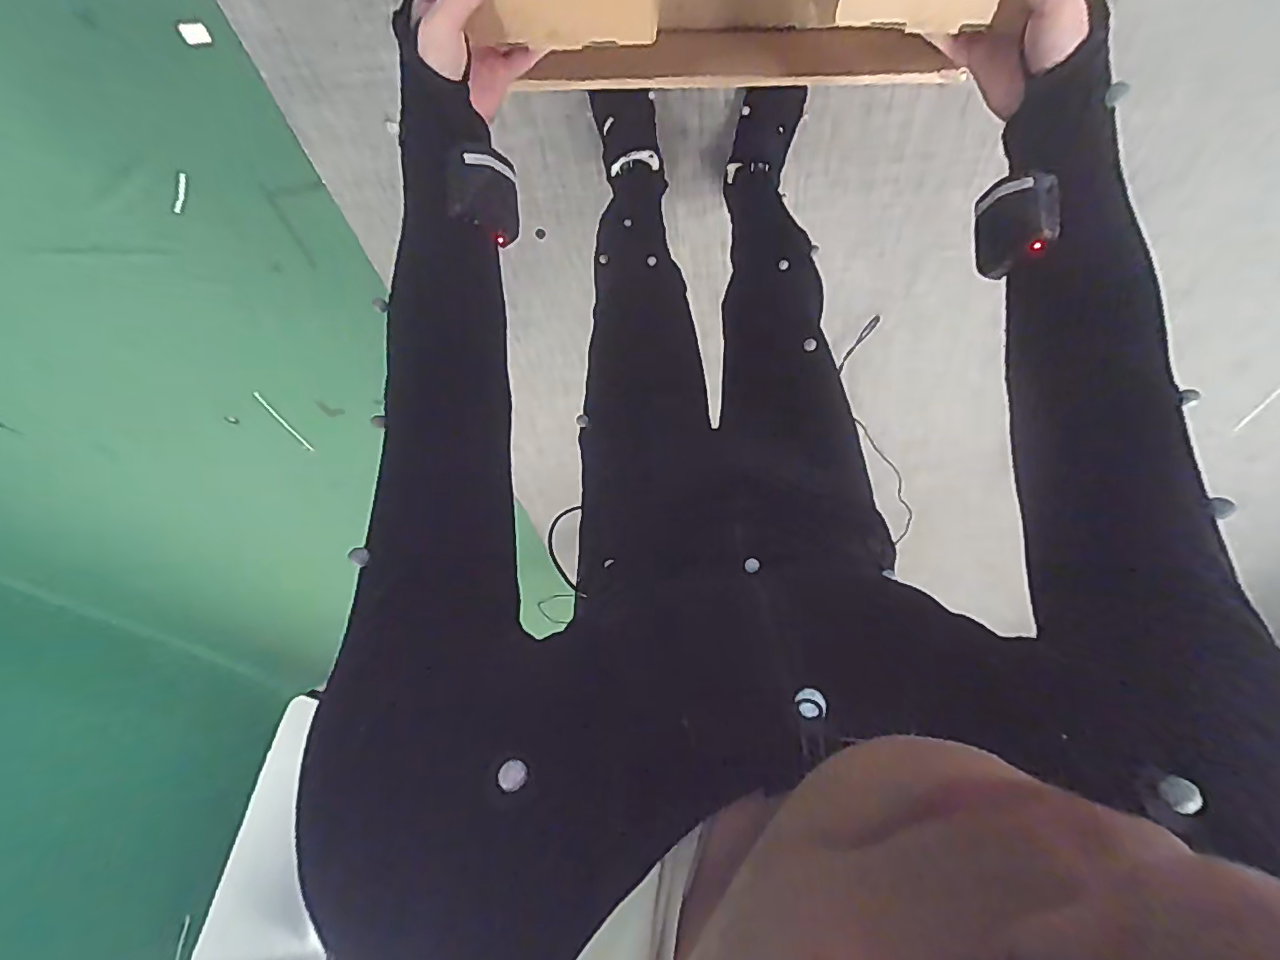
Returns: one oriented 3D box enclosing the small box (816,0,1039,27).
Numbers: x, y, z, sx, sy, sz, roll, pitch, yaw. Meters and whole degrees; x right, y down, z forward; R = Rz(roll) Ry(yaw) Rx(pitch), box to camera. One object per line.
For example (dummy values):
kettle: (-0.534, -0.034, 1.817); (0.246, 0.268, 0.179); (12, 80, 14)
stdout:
small box: (0.225, -0.473, 0.399); (0.168, 0.176, 0.179); (0, 143, -3)

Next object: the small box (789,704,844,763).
small box: (0.631, 0.914, 1.948); (0.168, 0.176, 0.179); (-6, 144, 12)

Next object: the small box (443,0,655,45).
small box: (-0.071, -0.473, 0.411); (0.168, 0.176, 0.179); (2, 149, 5)
